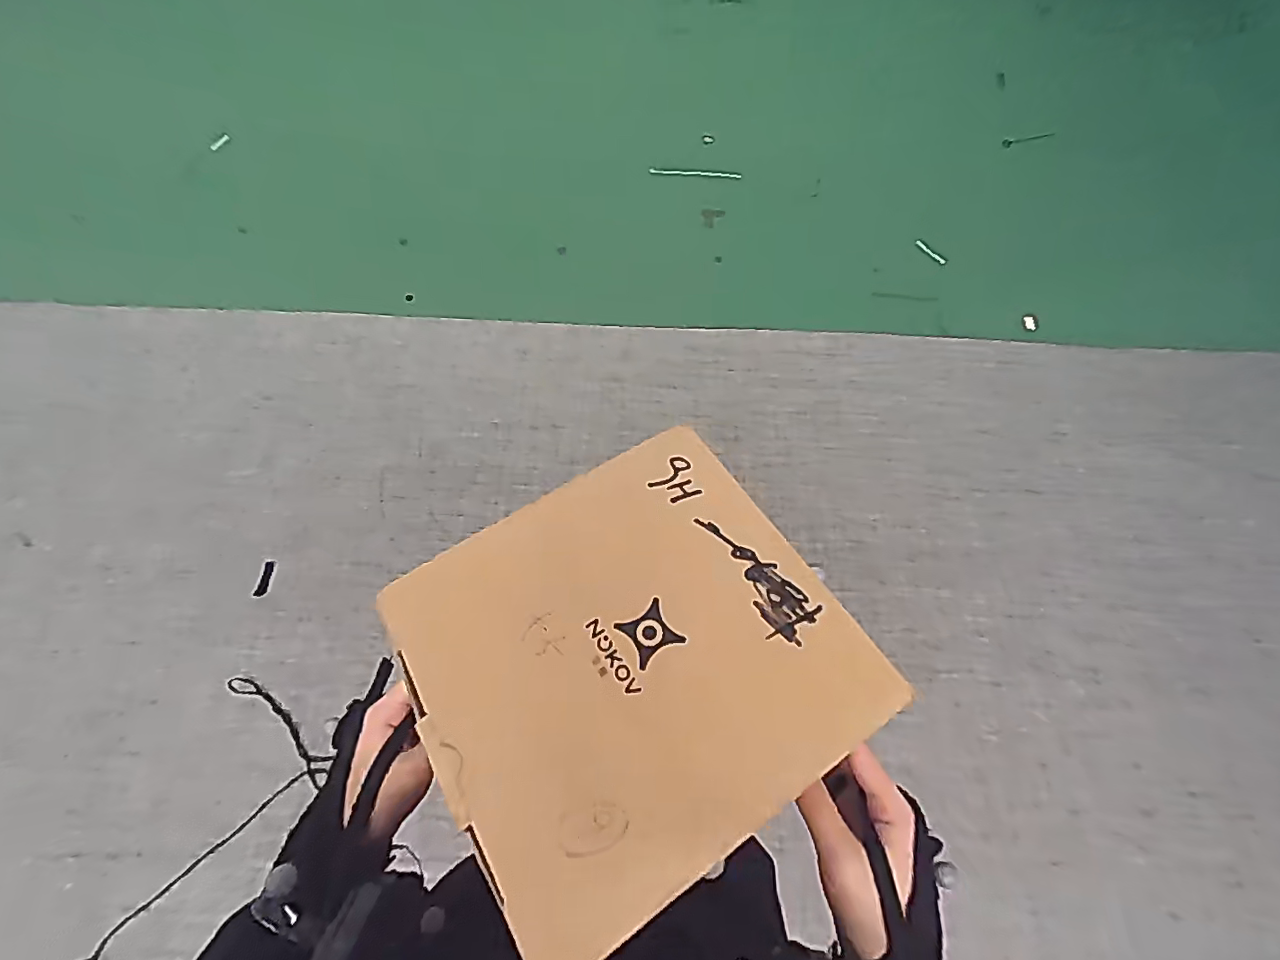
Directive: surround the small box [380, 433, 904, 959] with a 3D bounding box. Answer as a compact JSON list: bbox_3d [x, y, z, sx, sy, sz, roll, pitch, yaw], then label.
[{"bbox_3d":[-0.002,0.113,0.302,0.179,0.176,0.168,-30,64,-14],"label":"small box"}]
